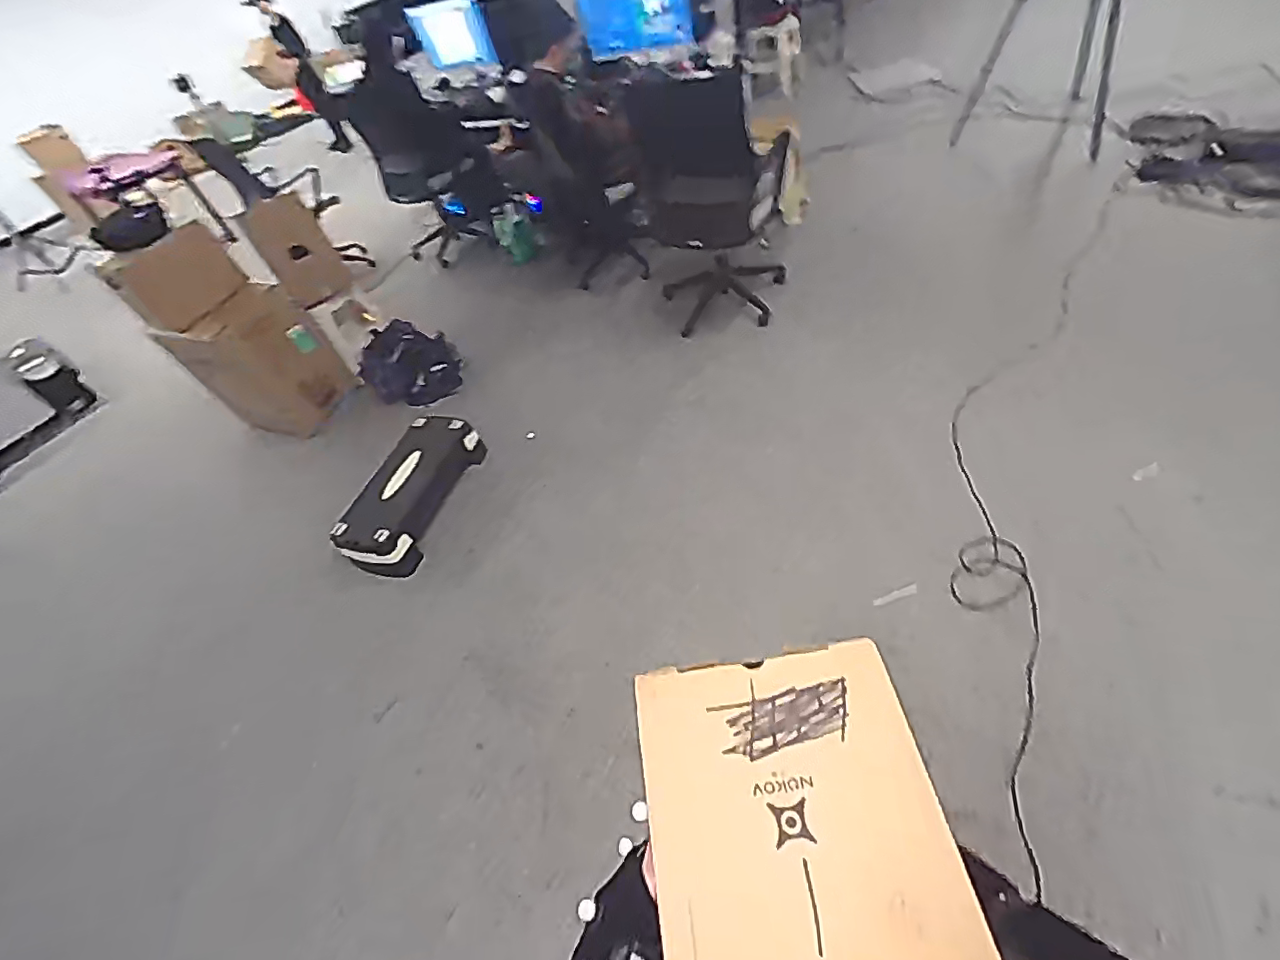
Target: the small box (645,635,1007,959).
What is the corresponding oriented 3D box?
[{"bbox_3d":[0.099,0.229,0.375,0.168,0.176,0.179,-10,54,3],"label":"small box"}]
